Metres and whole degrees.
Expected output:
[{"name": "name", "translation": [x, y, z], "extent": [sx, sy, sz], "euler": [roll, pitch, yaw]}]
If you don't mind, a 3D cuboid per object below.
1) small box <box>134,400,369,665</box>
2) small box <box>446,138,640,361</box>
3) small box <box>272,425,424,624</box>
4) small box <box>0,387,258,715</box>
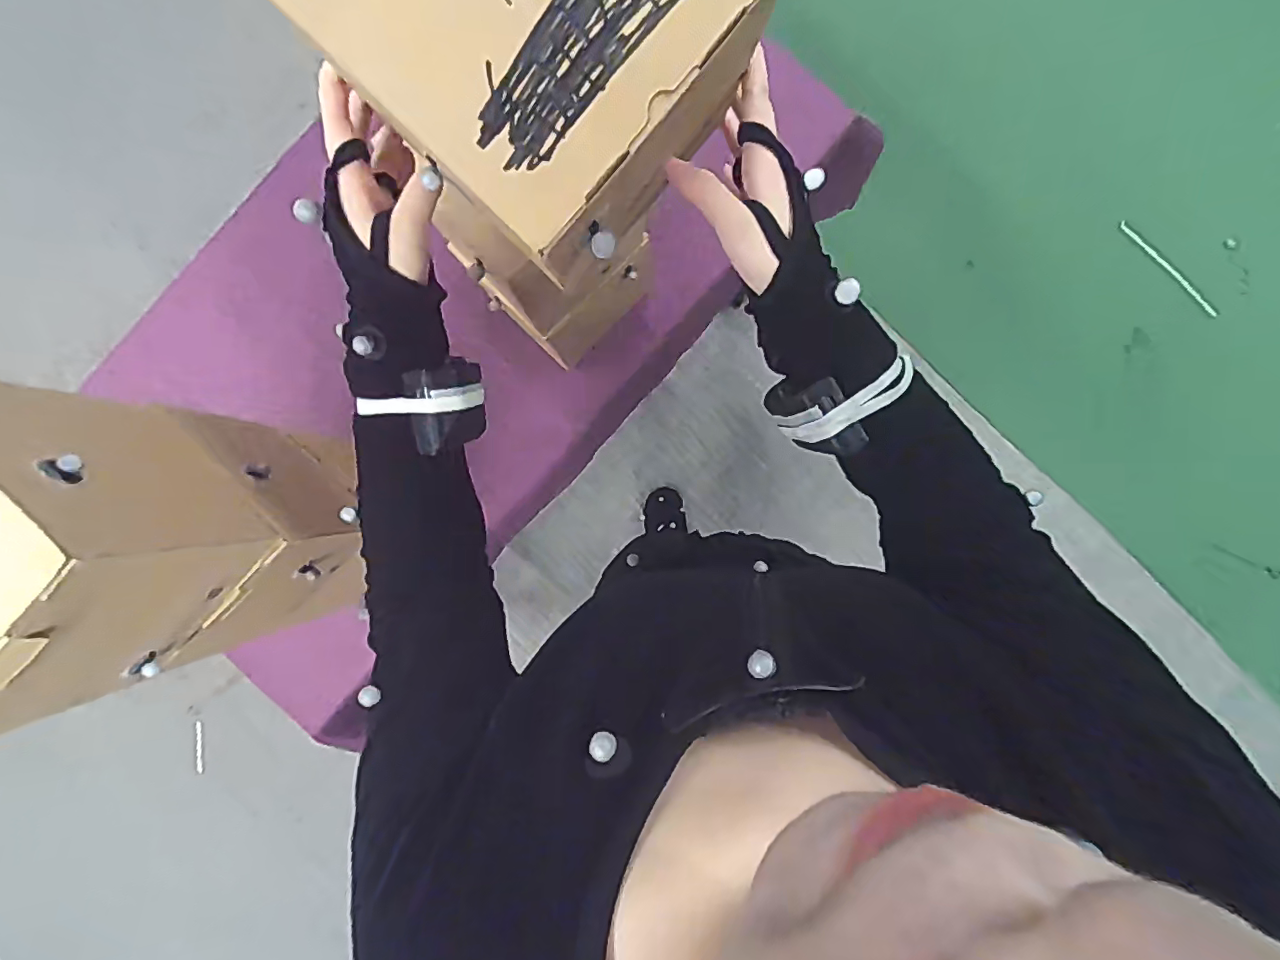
[{"name": "small box", "translation": [-0.421, 0.045, 0.547], "extent": [0.168, 0.176, 0.179], "euler": [-45, 88, 0]}, {"name": "small box", "translation": [-0.110, -0.283, 0.709], "extent": [0.168, 0.176, 0.179], "euler": [44, 90, 2]}, {"name": "small box", "translation": [-0.415, 0.053, 0.710], "extent": [0.168, 0.176, 0.179], "euler": [43, 90, 2]}, {"name": "small box", "translation": [-0.432, 0.044, 0.383], "extent": [0.179, 0.176, 0.168], "euler": [42, 89, 3]}]
